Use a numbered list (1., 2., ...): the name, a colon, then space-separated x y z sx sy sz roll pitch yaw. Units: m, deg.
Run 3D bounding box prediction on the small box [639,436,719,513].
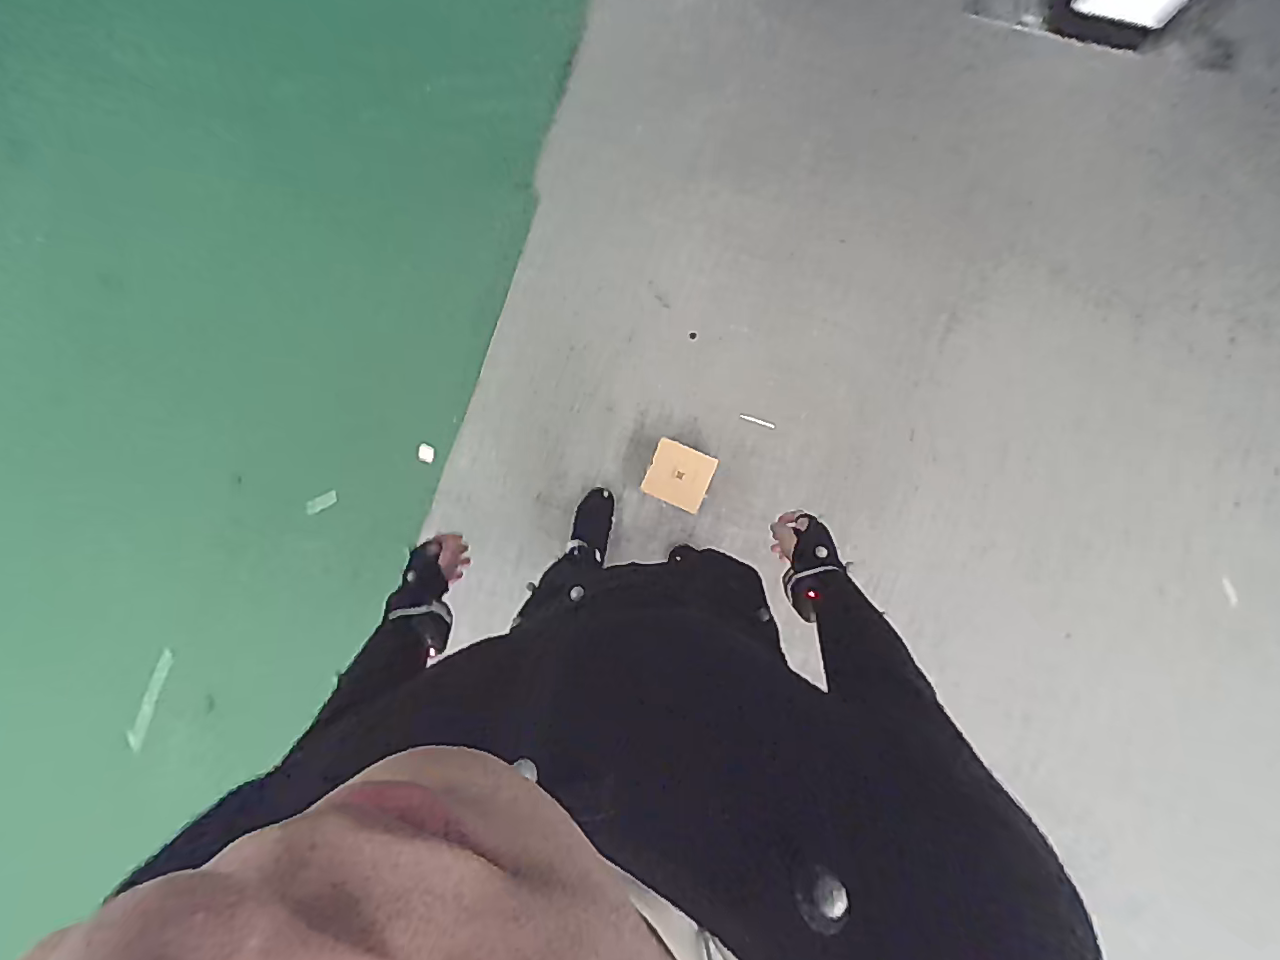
1. small box: 0.113 -0.010 1.573 0.179 0.176 0.168 25 89 4
